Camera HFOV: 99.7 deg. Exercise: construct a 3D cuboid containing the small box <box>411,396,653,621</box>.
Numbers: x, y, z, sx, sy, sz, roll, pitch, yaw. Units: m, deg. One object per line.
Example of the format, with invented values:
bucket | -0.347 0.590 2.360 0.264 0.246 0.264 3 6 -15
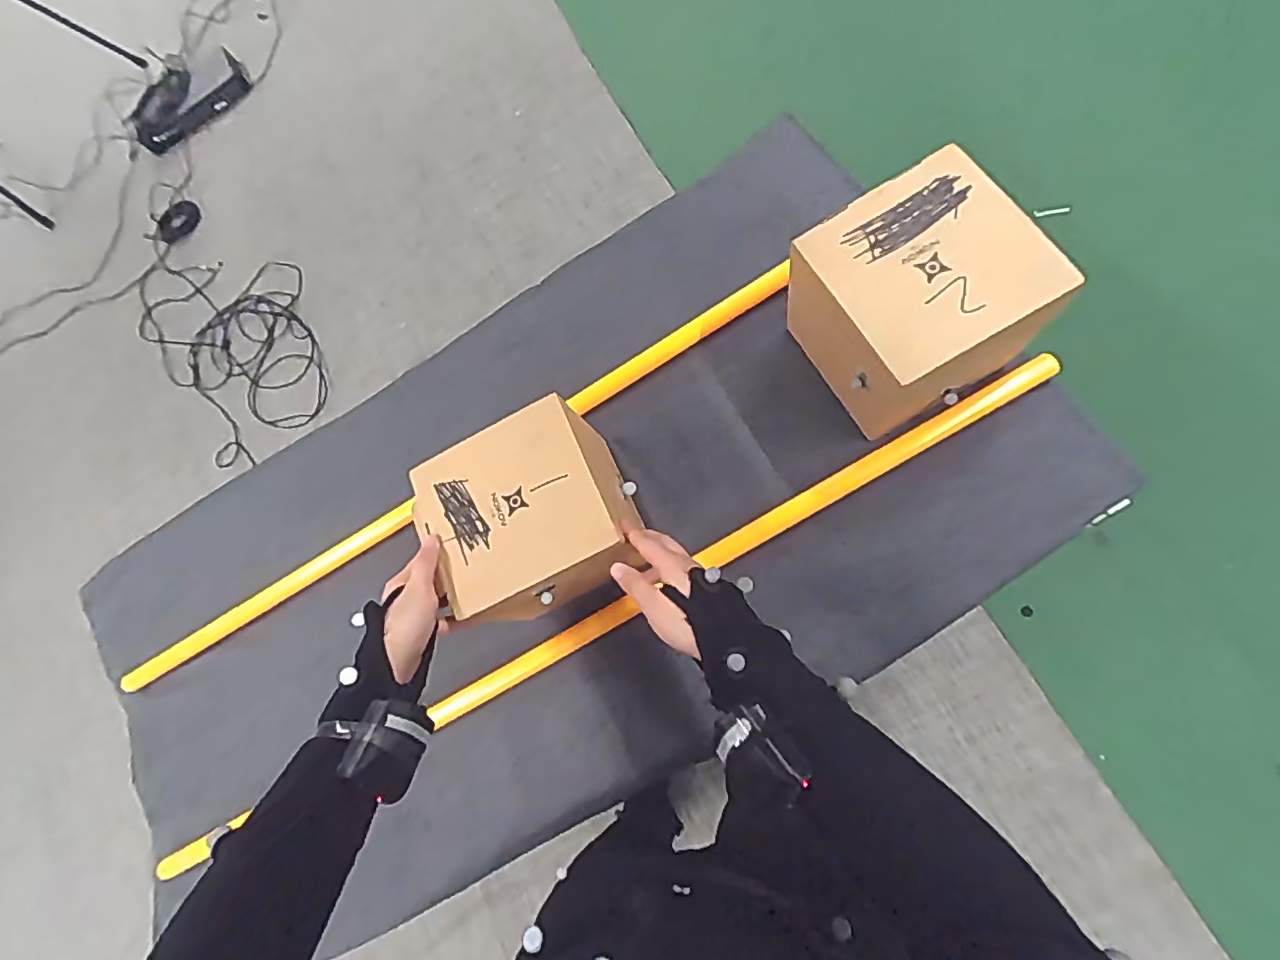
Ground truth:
small box | -0.106 0.043 0.589 0.179 0.176 0.168 -27 73 6
